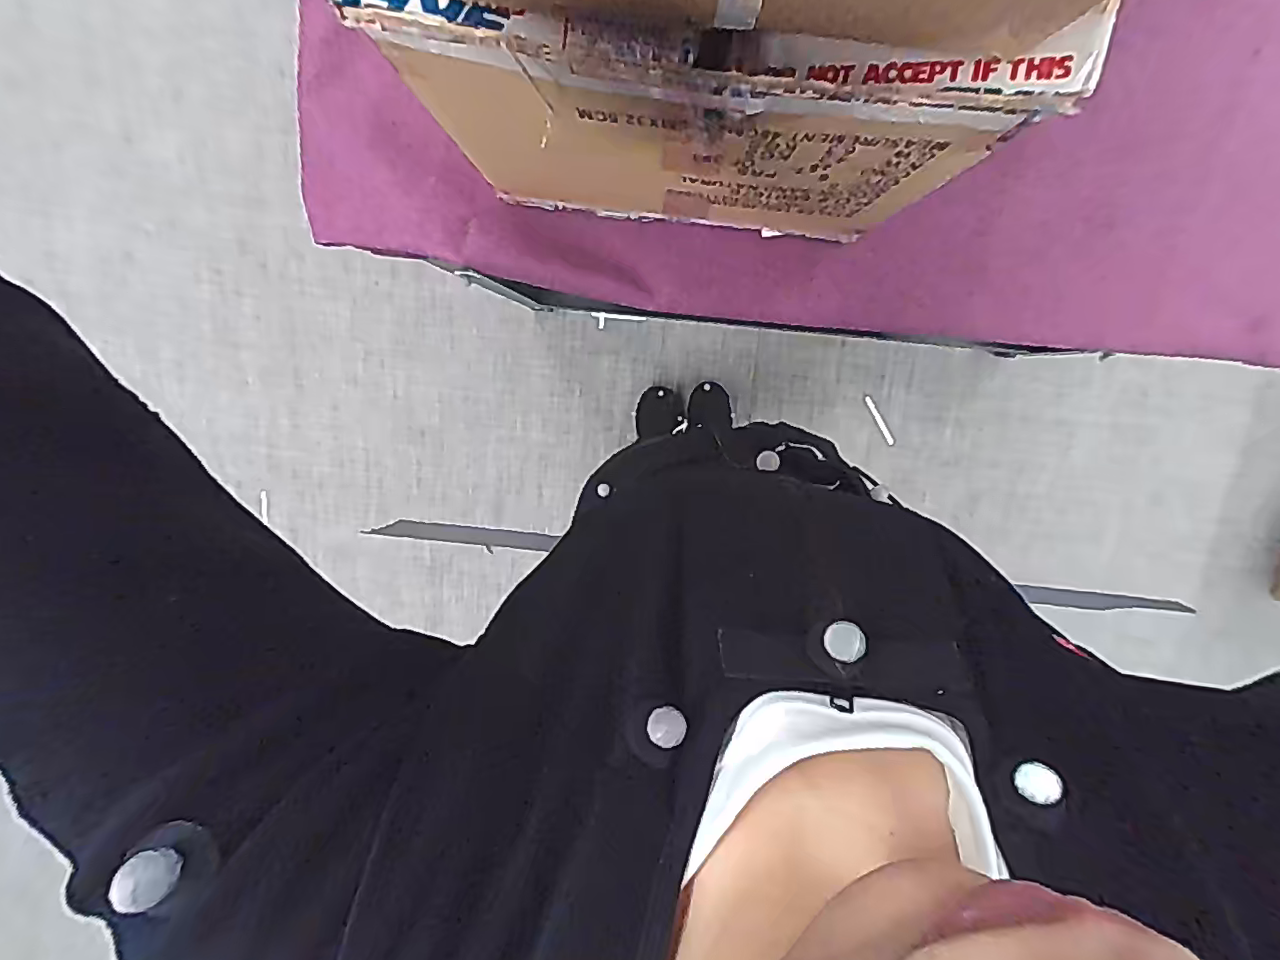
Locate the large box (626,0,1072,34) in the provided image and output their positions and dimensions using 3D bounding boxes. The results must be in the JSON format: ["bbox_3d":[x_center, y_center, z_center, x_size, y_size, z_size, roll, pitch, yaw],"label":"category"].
[{"bbox_3d":[0.071,-0.393,0.084,0.320,0.320,0.408,5,106,1],"label":"large box"}]
